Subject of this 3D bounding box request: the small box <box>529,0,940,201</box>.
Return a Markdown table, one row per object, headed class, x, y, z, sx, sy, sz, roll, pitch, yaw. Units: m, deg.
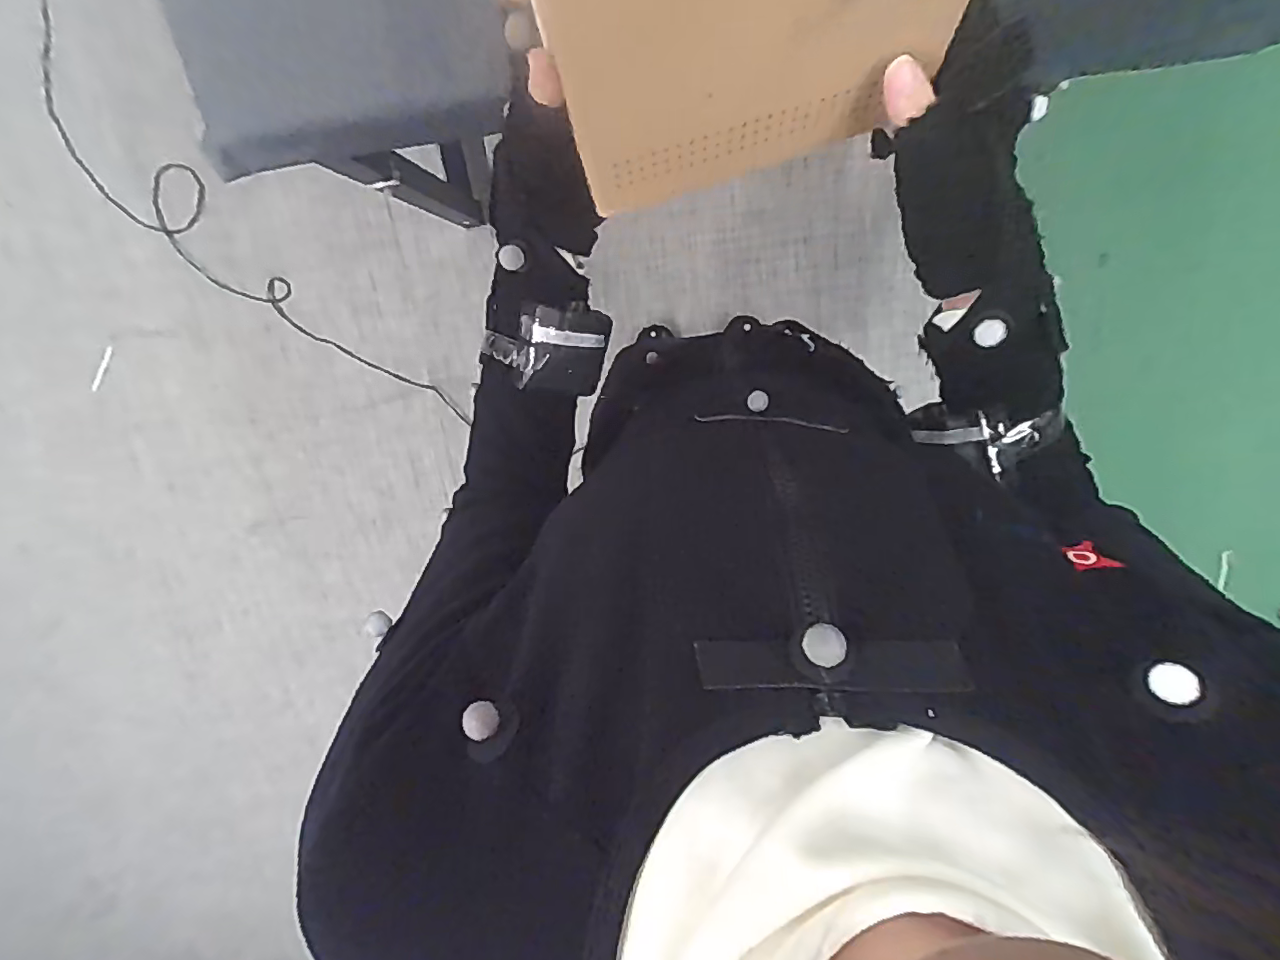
| class | x | y | z | sx | sy | sz | roll | pitch | yaw |
| --- | --- | --- | --- | --- | --- | --- | --- | --- | --- |
| small box | 0.030 | -0.263 | 0.230 | 0.179 | 0.176 | 0.168 | -19 | 75 | 2 |
